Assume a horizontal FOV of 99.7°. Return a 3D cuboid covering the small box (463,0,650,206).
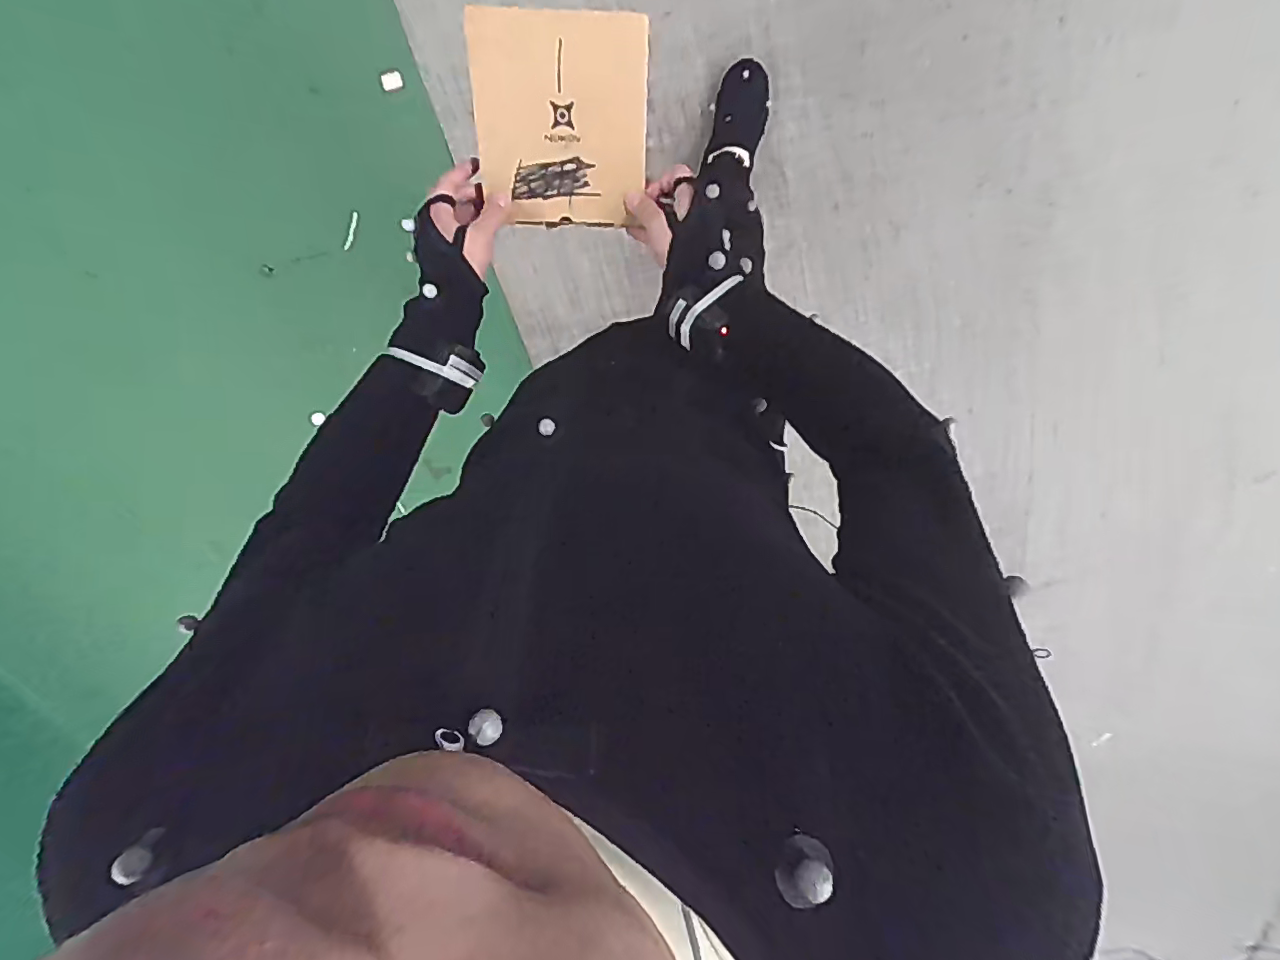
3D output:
[{"bbox_3d":[-0.080,-0.399,0.576,0.168,0.176,0.179,-1,121,-4],"label":"small box"}]
